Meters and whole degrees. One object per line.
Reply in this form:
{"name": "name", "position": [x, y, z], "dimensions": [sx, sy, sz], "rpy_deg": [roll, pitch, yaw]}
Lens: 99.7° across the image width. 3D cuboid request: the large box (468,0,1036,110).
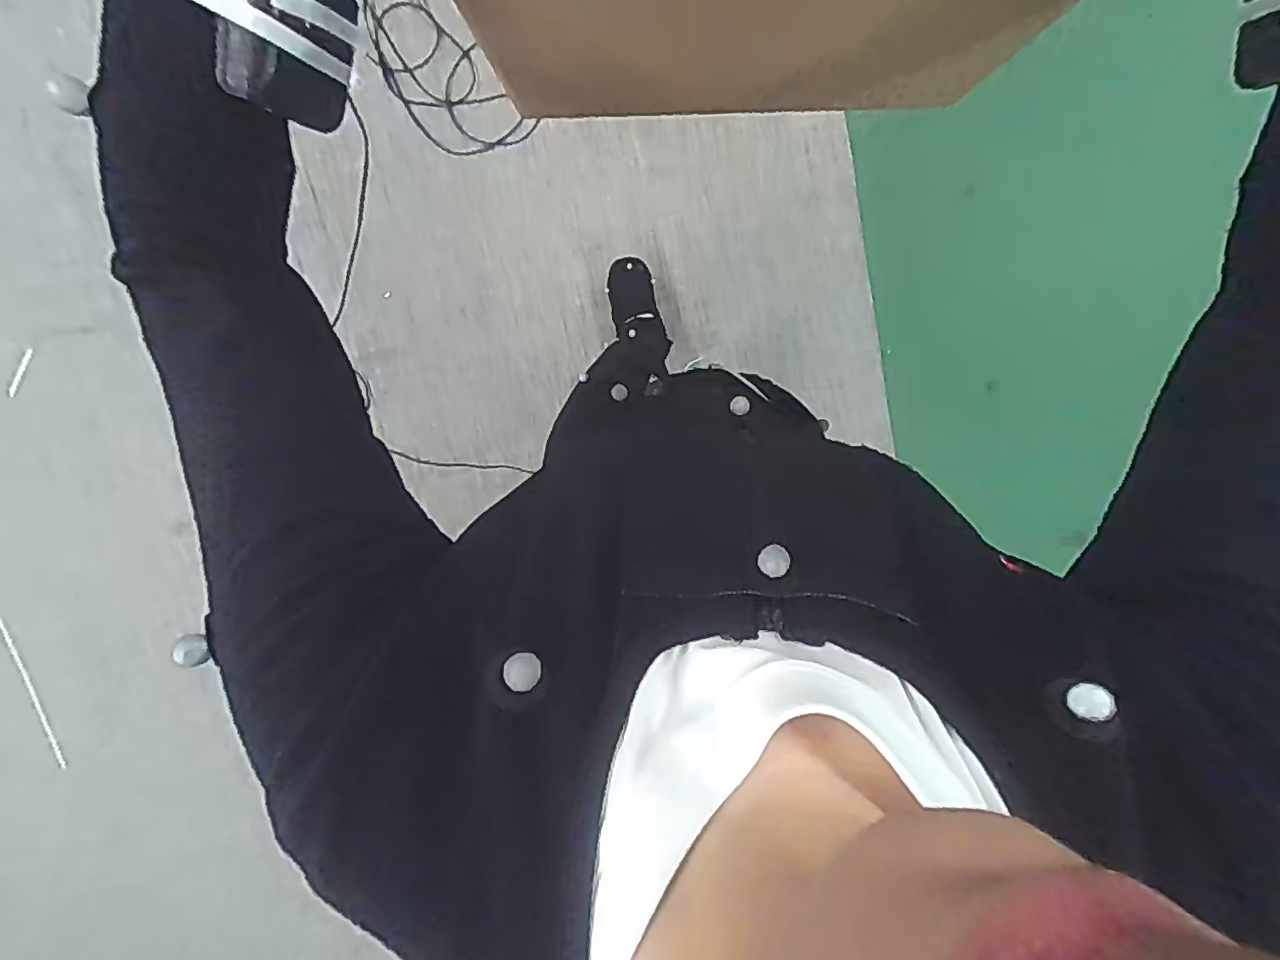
{"name": "large box", "position": [0.076, -0.468, 0.327], "dimensions": [0.408, 0.320, 0.320], "rpy_deg": [-1, 103, 1]}
